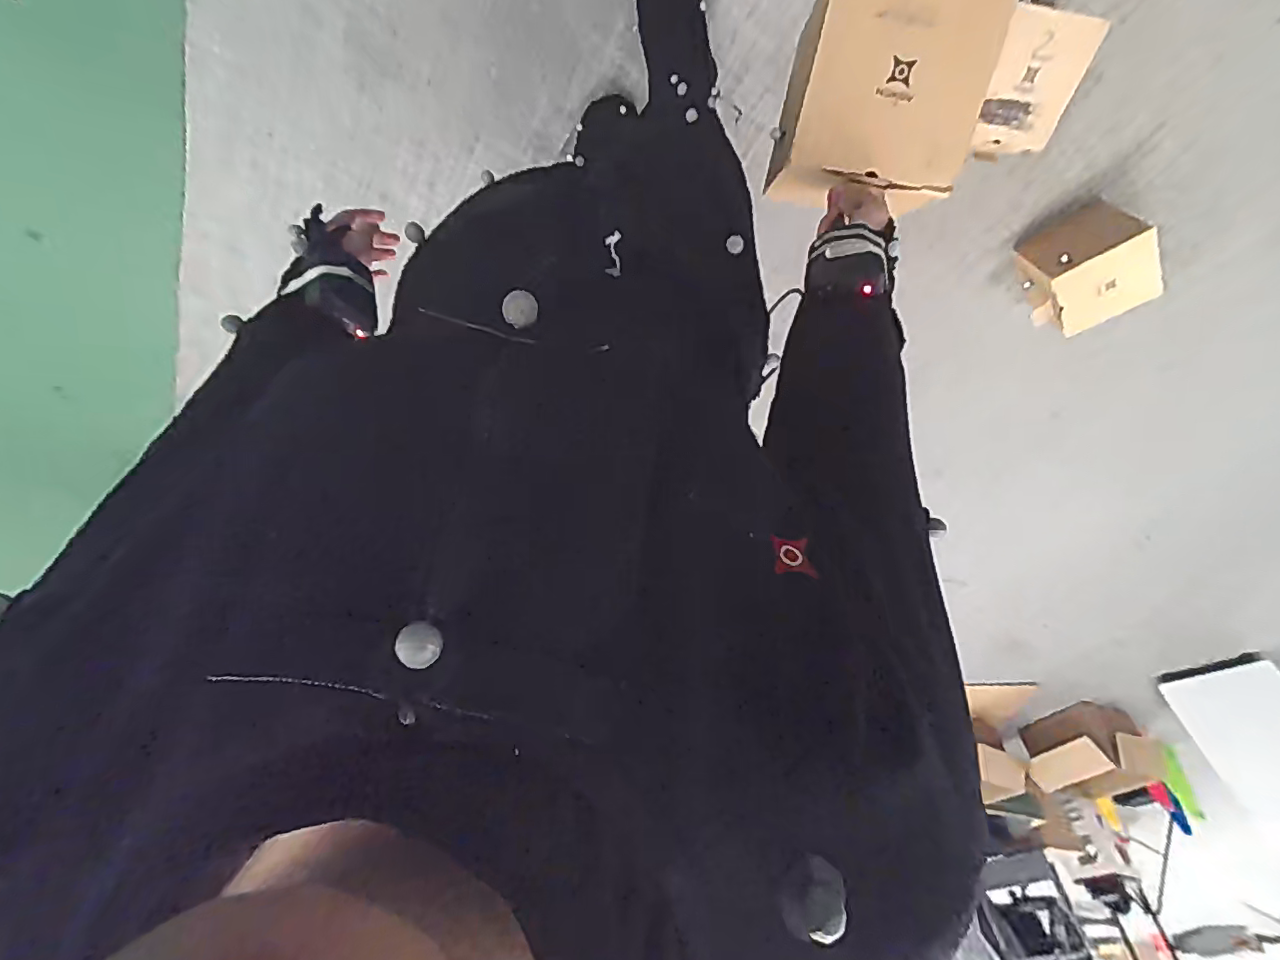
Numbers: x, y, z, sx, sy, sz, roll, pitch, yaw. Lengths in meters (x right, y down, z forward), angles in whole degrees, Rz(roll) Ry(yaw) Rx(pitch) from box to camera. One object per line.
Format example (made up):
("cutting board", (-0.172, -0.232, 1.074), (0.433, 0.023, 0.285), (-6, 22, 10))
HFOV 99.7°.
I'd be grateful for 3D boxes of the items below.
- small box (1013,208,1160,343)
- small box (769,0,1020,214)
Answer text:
("small box", (0.930, -0.432, 1.135), (0.179, 0.176, 0.168), (-27, 128, 26))
("small box", (0.243, -0.396, 0.568), (0.168, 0.176, 0.179), (11, 107, -1))
